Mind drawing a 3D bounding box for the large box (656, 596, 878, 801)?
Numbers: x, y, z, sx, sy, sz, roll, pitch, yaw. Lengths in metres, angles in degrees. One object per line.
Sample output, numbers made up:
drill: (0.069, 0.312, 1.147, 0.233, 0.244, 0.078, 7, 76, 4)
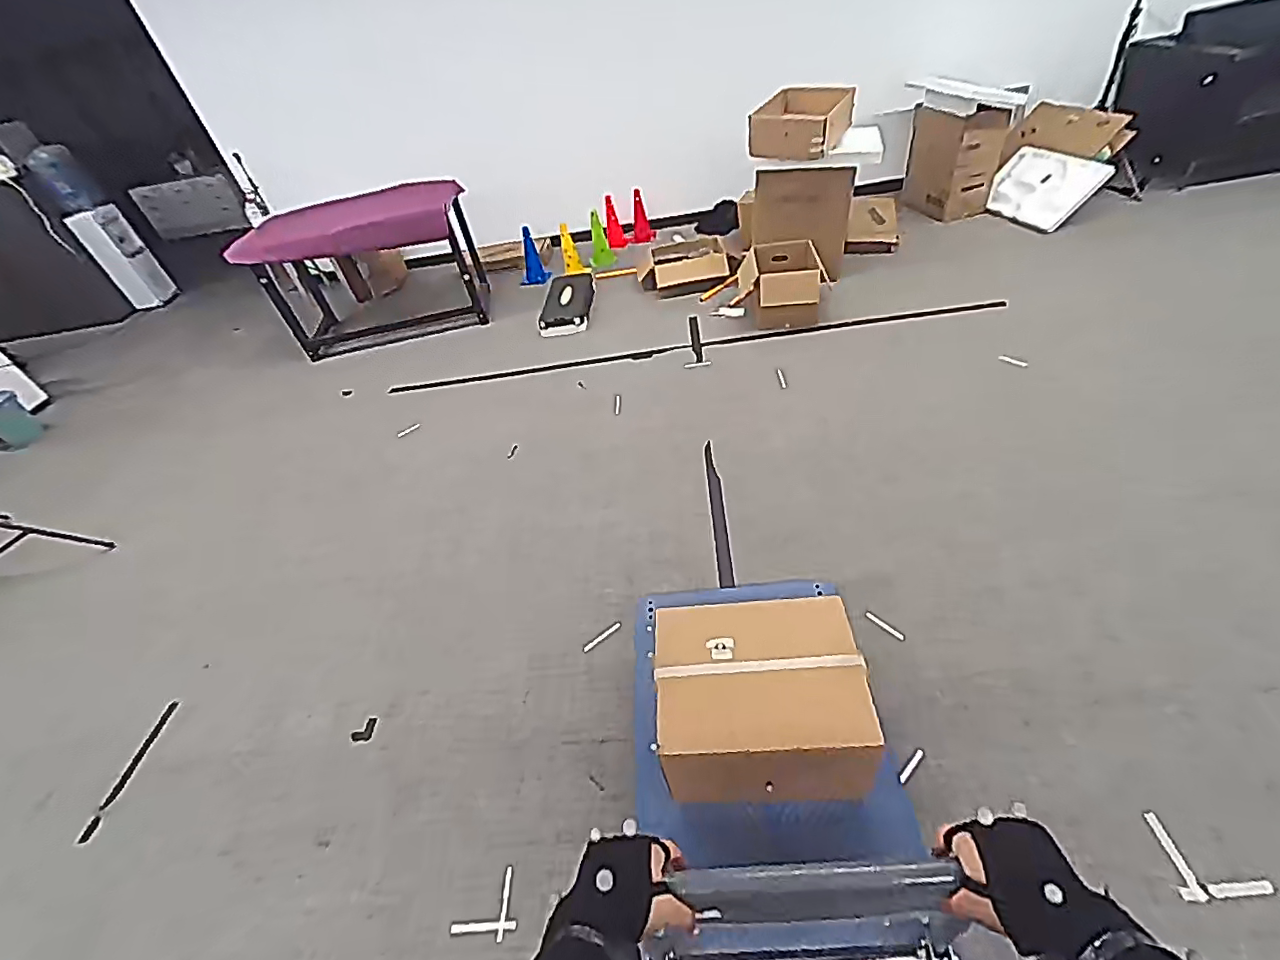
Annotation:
large box: (0.258, 0.488, 1.193, 0.408, 0.320, 0.320, -7, 42, 7)
